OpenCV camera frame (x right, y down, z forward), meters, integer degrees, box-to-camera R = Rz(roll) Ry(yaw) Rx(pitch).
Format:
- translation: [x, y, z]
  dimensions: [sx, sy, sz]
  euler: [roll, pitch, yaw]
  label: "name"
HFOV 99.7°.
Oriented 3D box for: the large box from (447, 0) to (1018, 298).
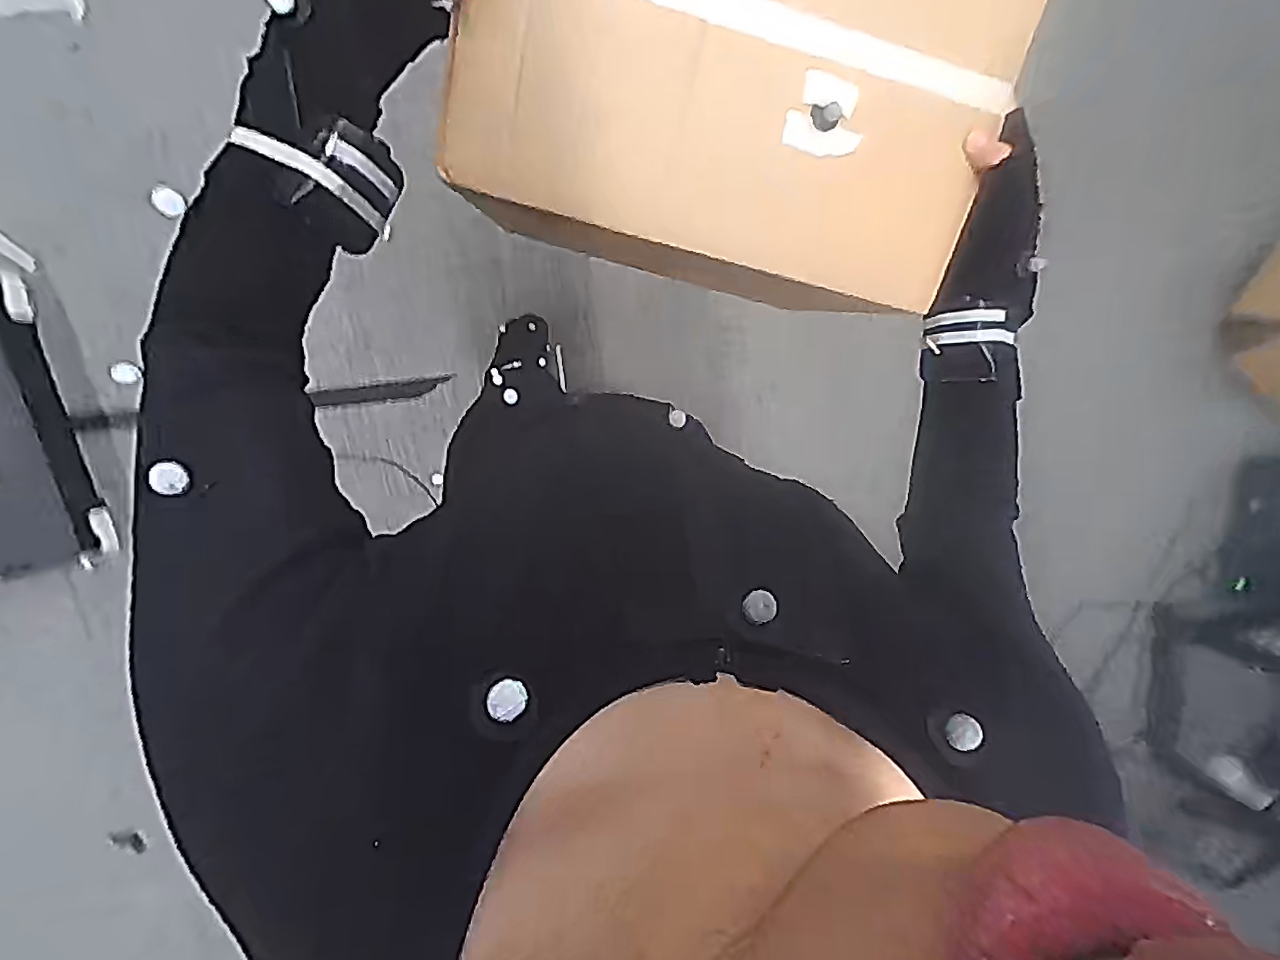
- translation: [0.060, -0.380, 0.534]
  dimensions: [0.408, 0.320, 0.320]
  euler: [10, 107, -9]
  label: "large box"
